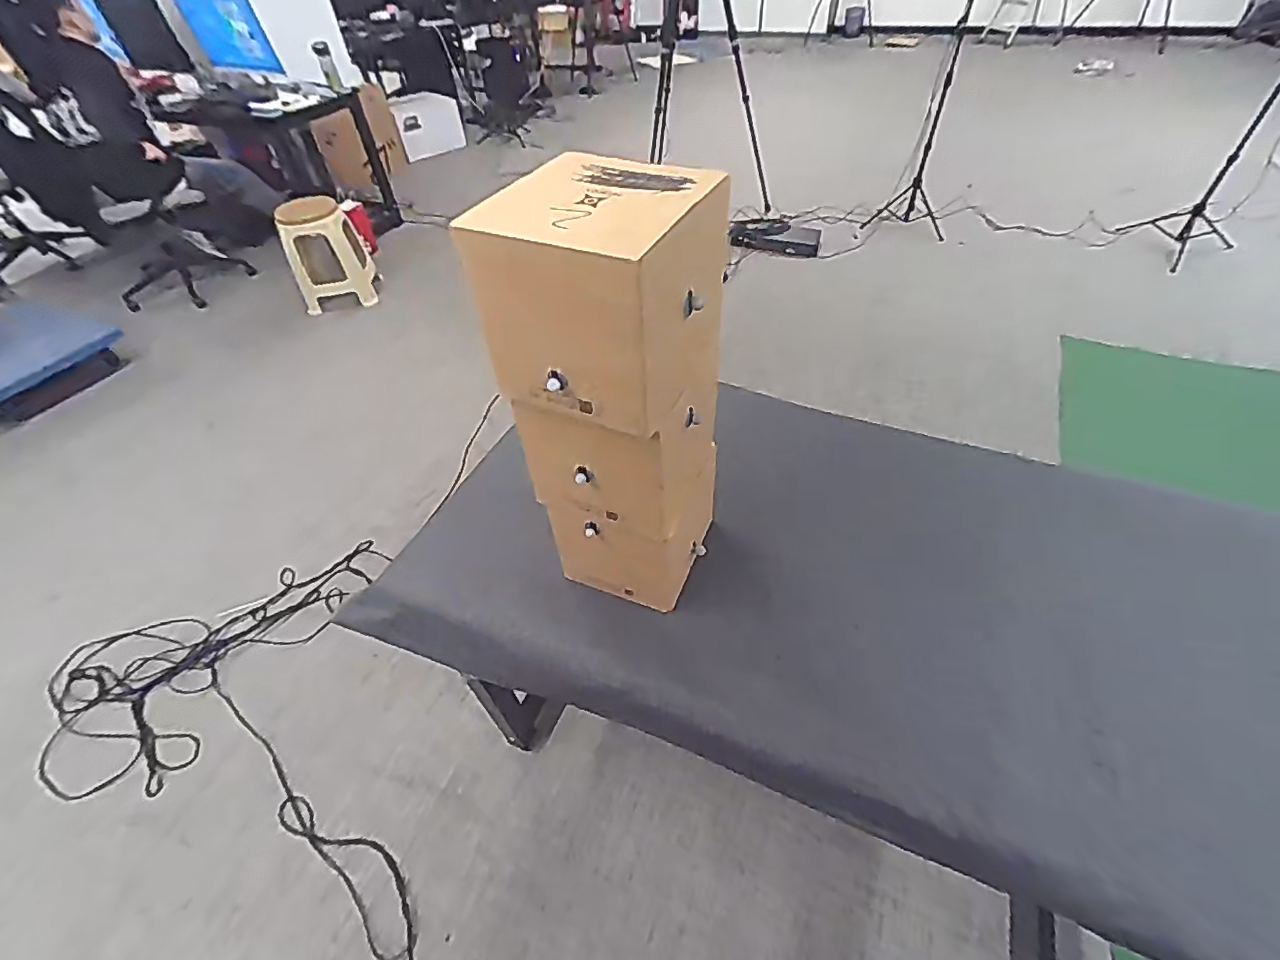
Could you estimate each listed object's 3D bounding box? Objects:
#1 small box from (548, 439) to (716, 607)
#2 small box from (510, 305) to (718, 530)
[{"bbox_3d":[-0.005,0.040,0.743,0.168,0.176,0.179,16,49,17],"label":"small box"},{"bbox_3d":[-0.019,-0.070,0.620,0.168,0.176,0.179,17,50,17],"label":"small box"}]
